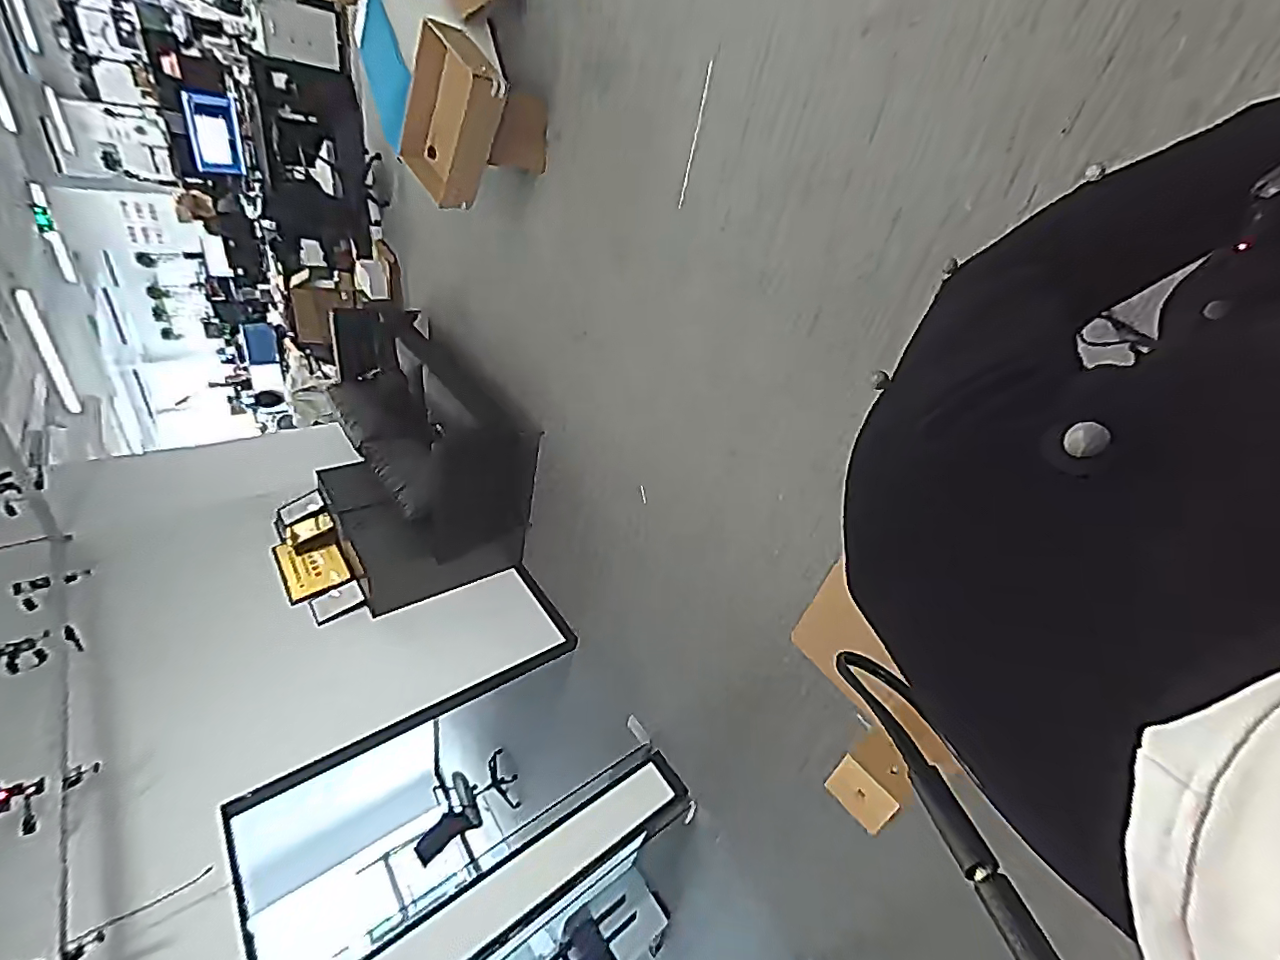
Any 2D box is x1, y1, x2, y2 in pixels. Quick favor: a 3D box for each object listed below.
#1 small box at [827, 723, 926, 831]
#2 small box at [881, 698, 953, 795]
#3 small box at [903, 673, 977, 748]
[{"bbox_3d":[0.668,0.827,1.520,0.168,0.176,0.179,41,134,36],"label":"small box"},{"bbox_3d":[0.797,0.790,1.611,0.168,0.176,0.179,41,134,36],"label":"small box"},{"bbox_3d":[0.923,0.752,1.708,0.168,0.176,0.179,38,131,39],"label":"small box"}]
